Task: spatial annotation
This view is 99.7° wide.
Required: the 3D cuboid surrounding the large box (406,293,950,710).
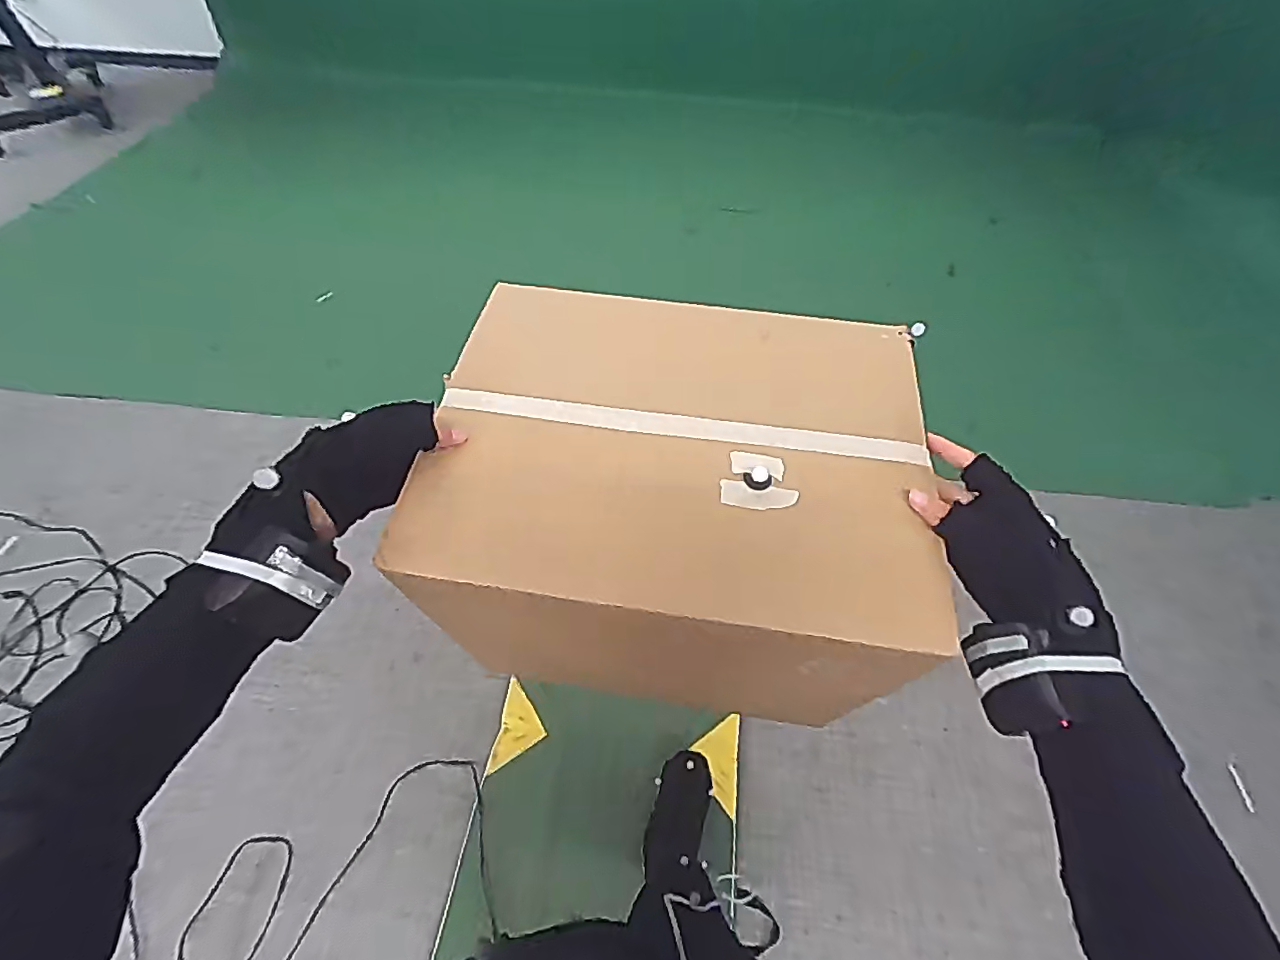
[{"bbox_3d":[0.037,0.037,0.590,0.408,0.320,0.320,8,58,4],"label":"large box"}]
